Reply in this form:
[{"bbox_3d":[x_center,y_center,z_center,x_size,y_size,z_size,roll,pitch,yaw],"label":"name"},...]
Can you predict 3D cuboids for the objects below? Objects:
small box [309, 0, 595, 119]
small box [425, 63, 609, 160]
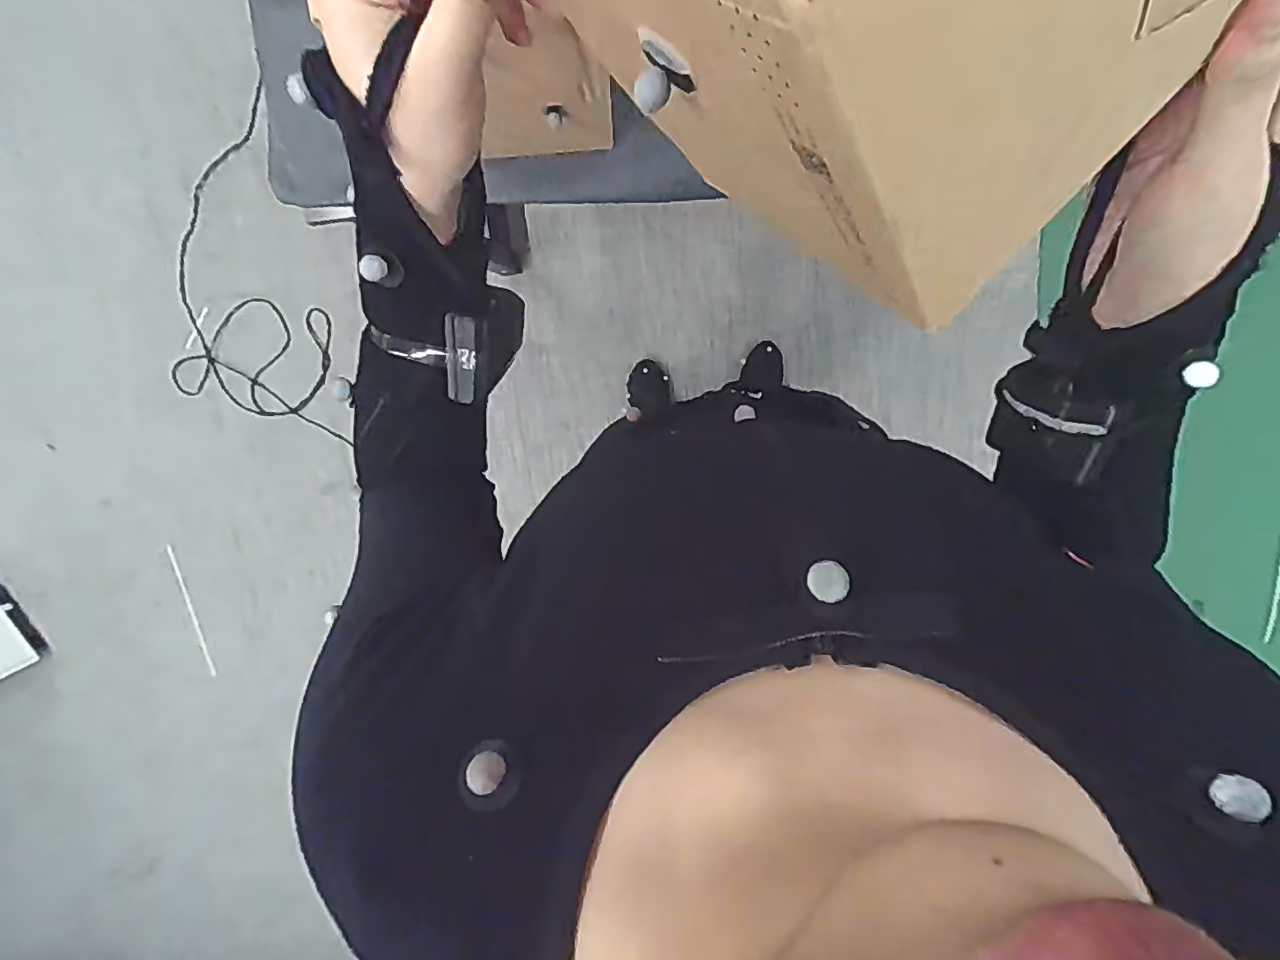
[{"bbox_3d":[-0.133,-0.406,0.415,0.179,0.176,0.168,-2,104,6],"label":"small box"},{"bbox_3d":[-0.128,-0.458,0.570,0.179,0.176,0.168,-2,104,5],"label":"small box"}]
